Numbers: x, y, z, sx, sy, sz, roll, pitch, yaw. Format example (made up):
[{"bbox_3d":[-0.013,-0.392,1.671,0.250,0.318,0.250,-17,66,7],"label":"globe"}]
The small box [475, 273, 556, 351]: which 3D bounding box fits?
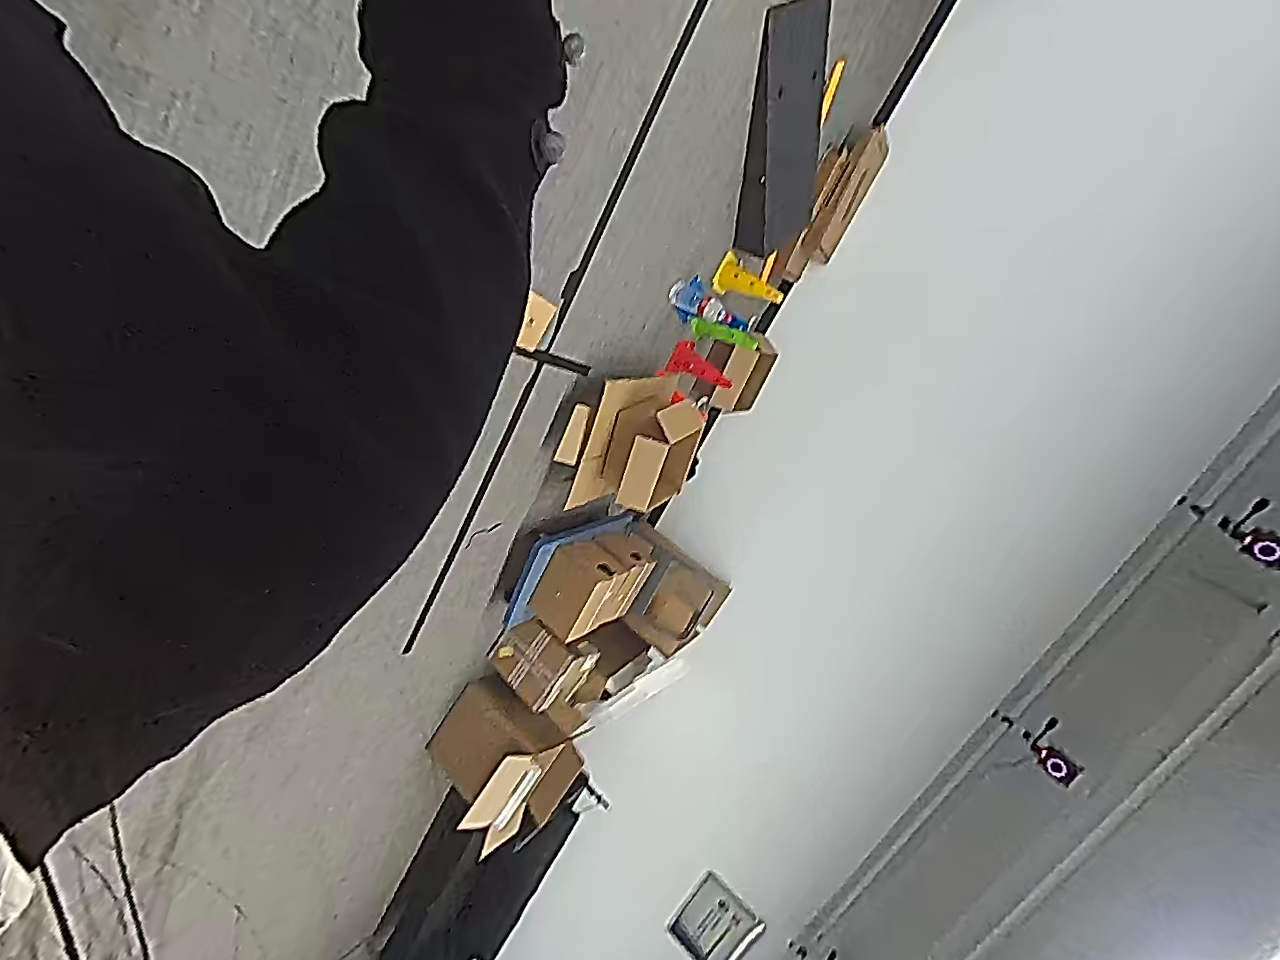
[{"bbox_3d":[-0.426,-0.570,1.830,0.179,0.176,0.168,-59,157,10],"label":"small box"}]
